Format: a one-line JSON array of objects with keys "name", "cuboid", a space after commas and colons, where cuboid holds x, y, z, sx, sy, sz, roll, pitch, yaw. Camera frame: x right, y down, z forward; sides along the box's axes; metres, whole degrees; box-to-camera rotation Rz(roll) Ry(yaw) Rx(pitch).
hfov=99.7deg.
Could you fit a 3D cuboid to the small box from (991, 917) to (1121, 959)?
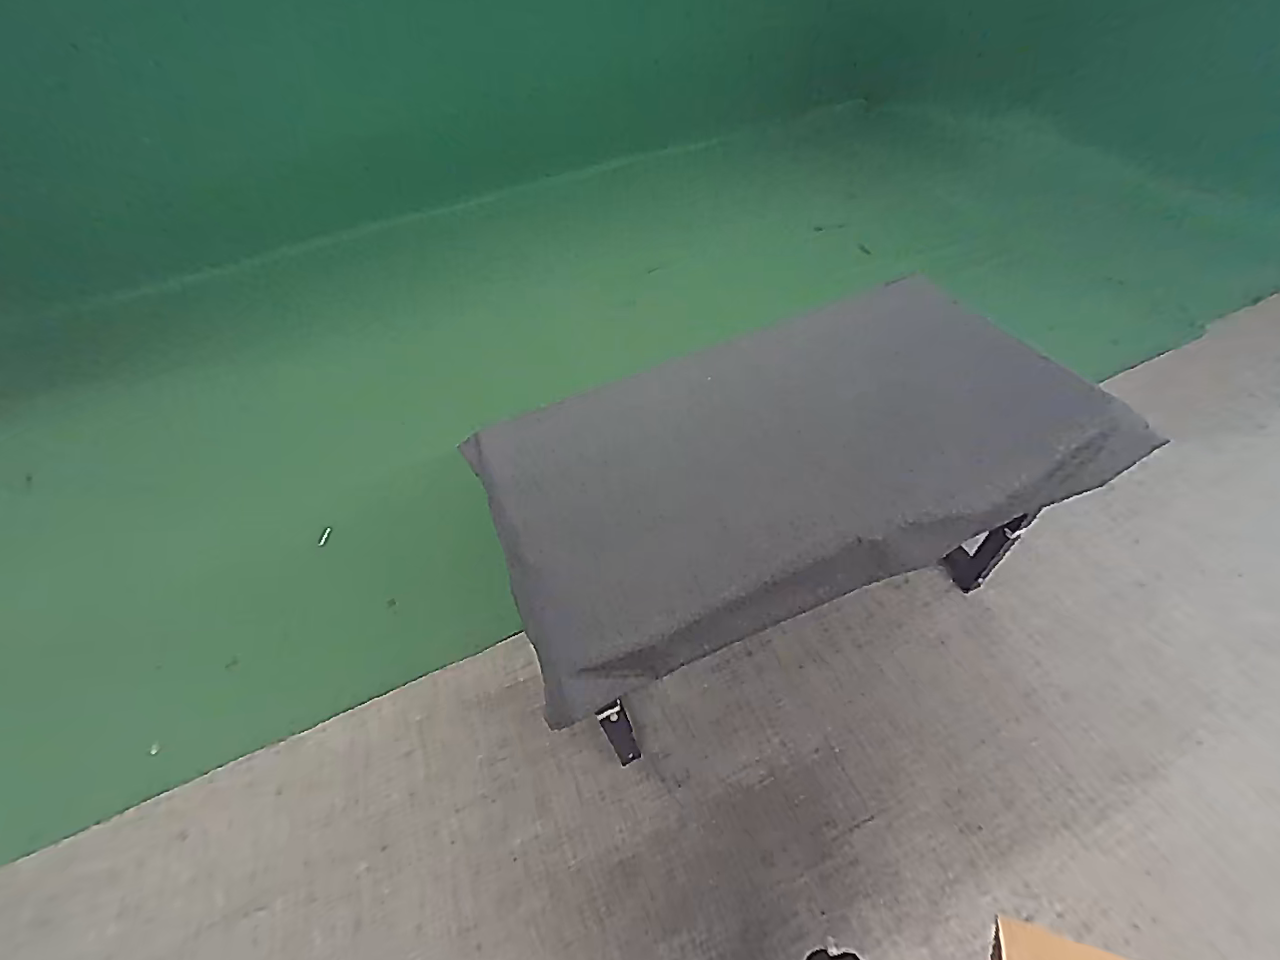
[{"name": "small box", "cuboid": [0.502, 0.672, 0.614, 0.168, 0.176, 0.179, 4, 17, 27]}]
